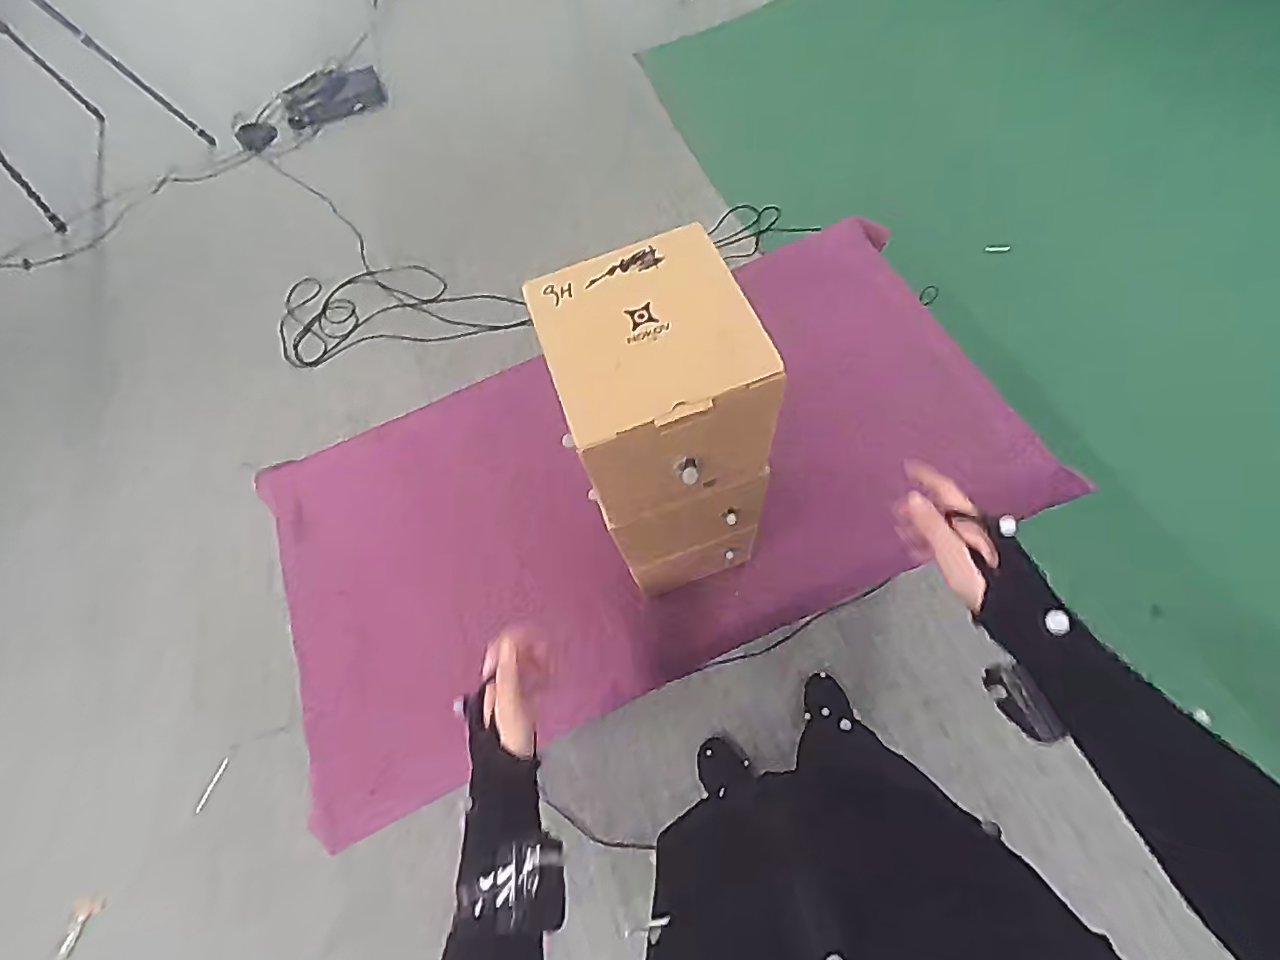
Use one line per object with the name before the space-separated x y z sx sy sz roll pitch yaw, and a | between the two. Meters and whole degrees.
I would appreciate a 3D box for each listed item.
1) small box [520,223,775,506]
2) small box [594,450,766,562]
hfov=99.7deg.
small box | 0.009 -0.091 0.502 0.168 0.176 0.179 -20 65 -2
small box | 0.031 -0.020 0.648 0.179 0.176 0.168 -20 65 -1
